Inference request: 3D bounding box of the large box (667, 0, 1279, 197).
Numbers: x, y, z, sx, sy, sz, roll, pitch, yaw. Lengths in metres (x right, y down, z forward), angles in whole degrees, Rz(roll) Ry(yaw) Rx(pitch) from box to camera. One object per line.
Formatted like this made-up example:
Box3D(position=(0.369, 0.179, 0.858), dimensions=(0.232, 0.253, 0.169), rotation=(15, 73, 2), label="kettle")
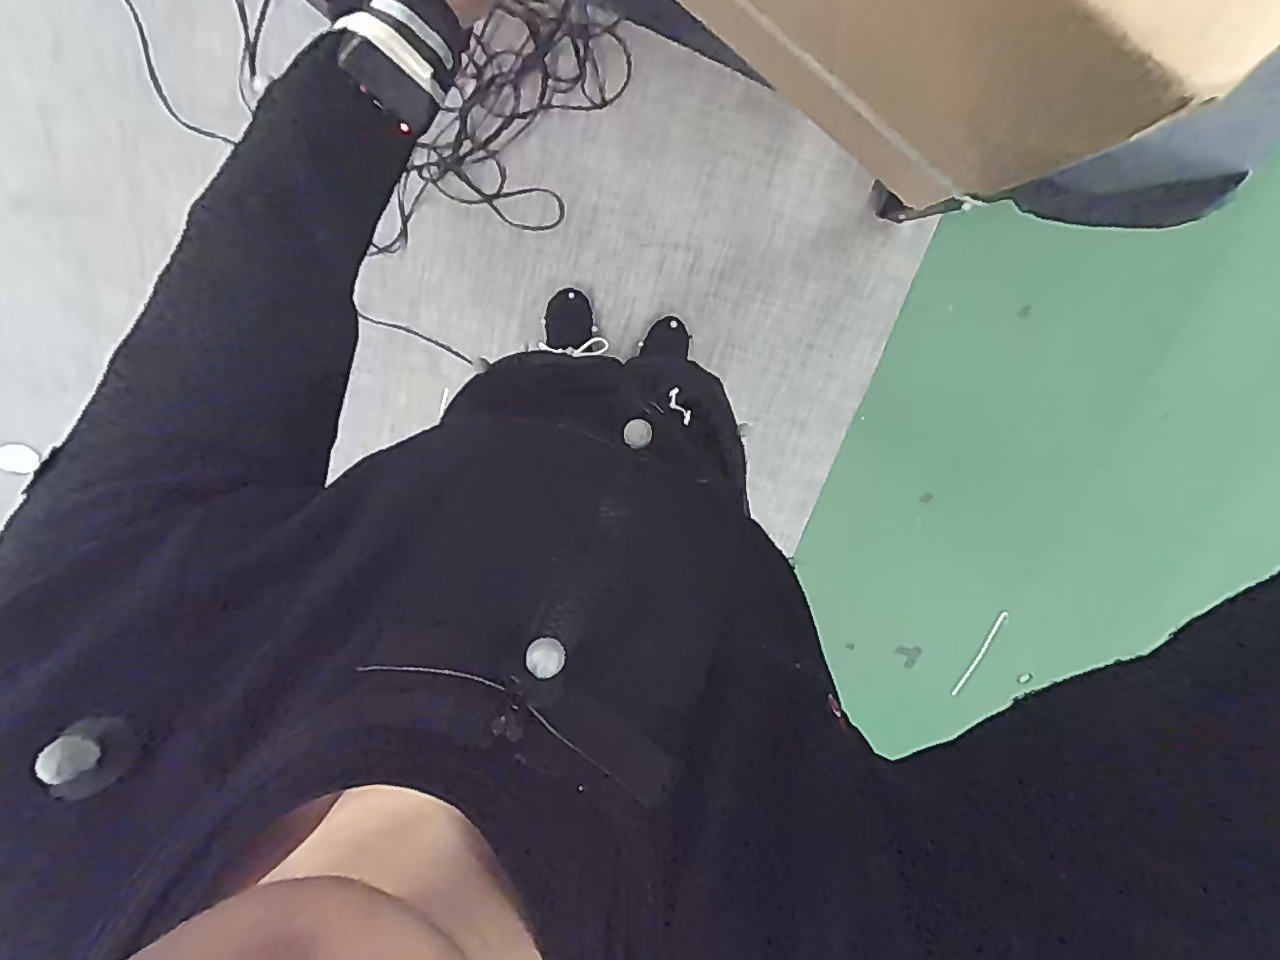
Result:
Box3D(position=(0.090, -0.363, 0.183), dimensions=(0.408, 0.320, 0.320), rotation=(38, 117, -2), label="large box")
